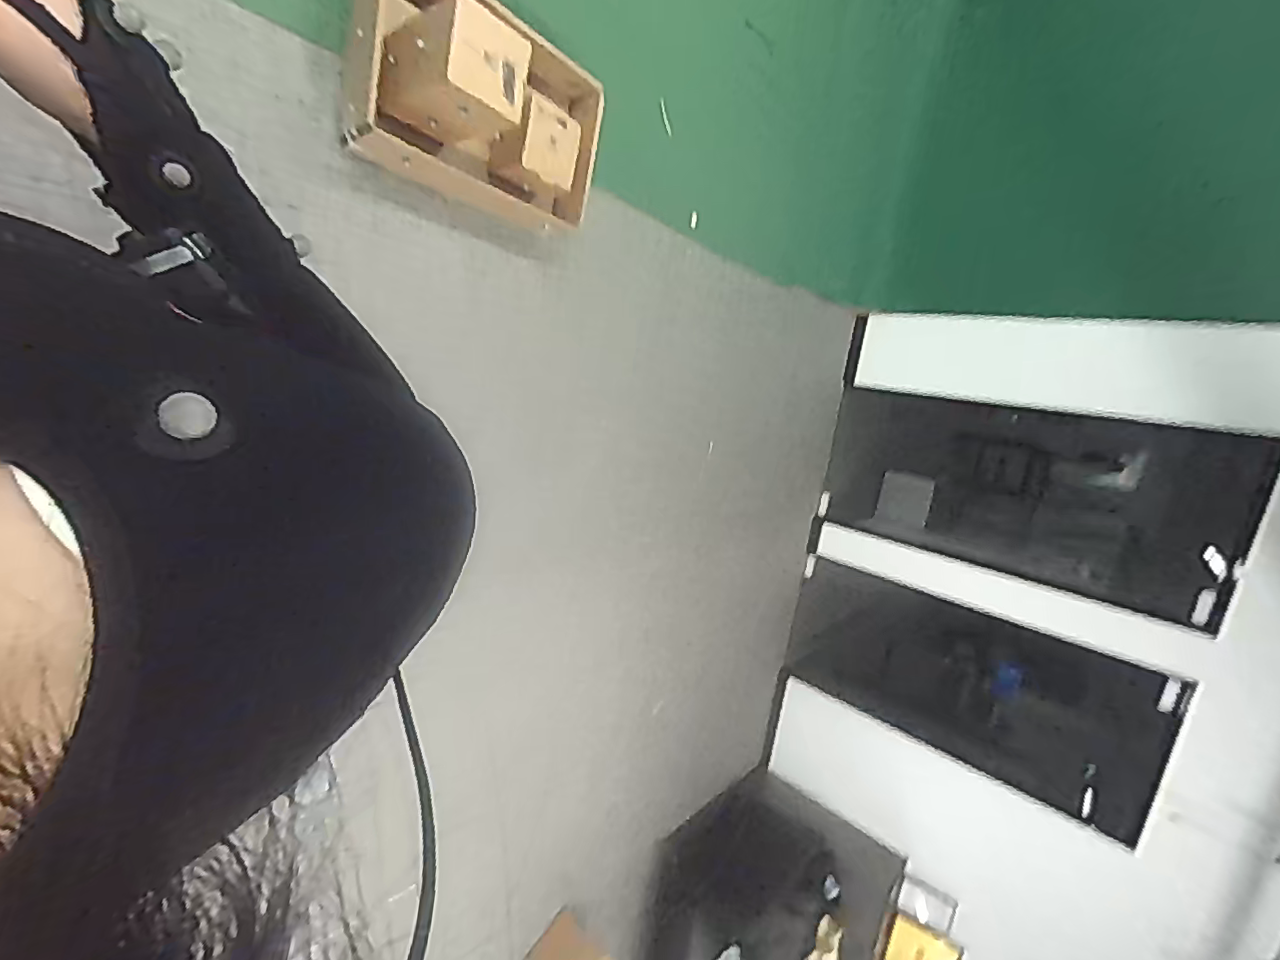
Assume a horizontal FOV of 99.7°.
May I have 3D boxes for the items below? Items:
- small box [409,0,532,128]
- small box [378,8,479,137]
[{"bbox_3d":[-0.360,-0.879,1.146,0.179,0.176,0.168,1,103,-49],"label":"small box"},{"bbox_3d":[-0.480,-0.923,1.249,0.179,0.176,0.168,-1,105,-50],"label":"small box"}]
